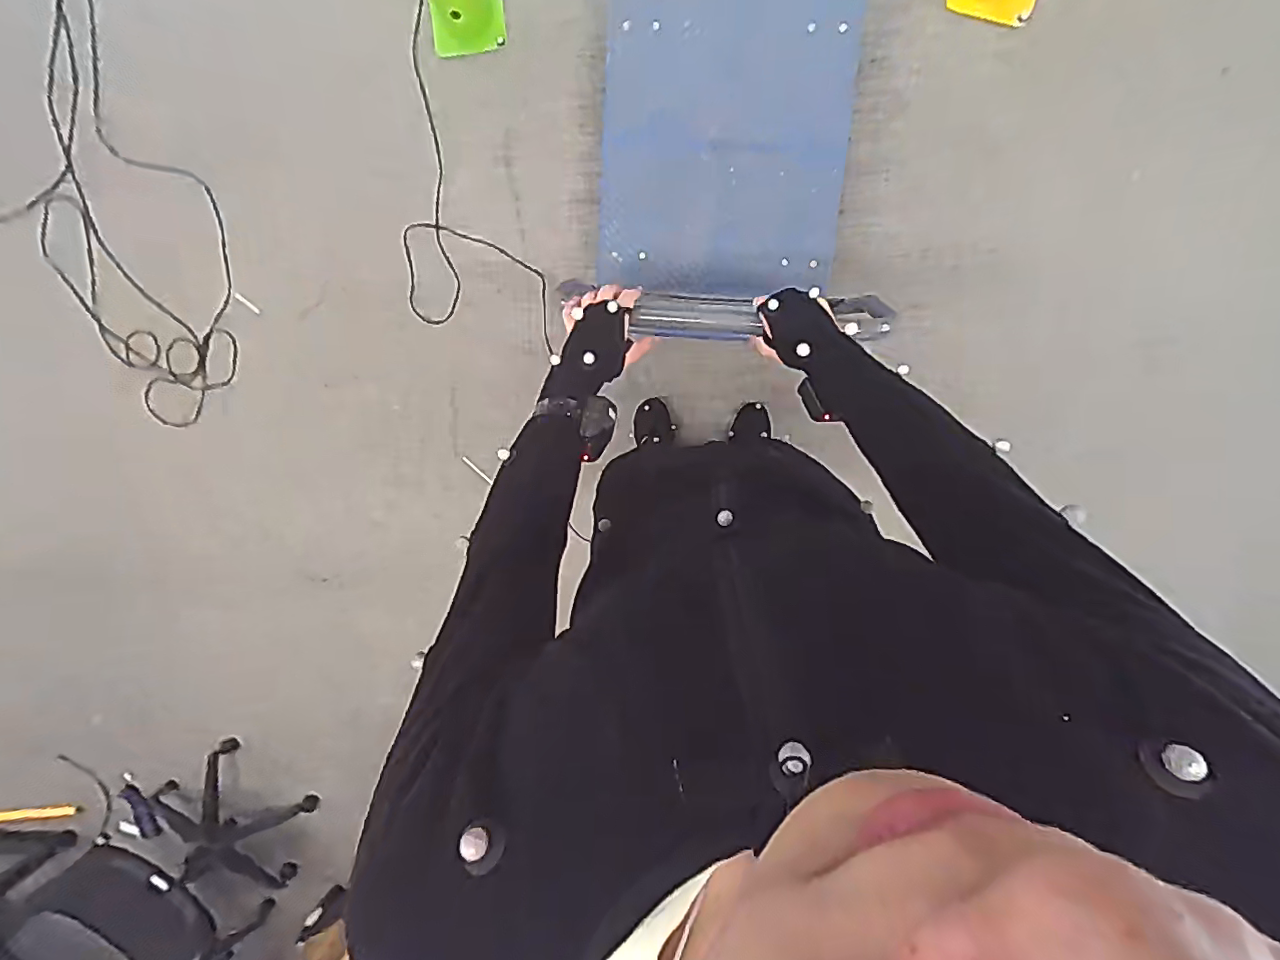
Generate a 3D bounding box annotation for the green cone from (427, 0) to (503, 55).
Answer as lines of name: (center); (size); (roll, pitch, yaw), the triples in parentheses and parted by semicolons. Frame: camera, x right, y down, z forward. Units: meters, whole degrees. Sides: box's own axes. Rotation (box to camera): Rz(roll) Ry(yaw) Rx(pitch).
green cone: (-0.487, -1.207, 1.254); (0.202, 0.368, 0.200); (-4, 102, 9)
